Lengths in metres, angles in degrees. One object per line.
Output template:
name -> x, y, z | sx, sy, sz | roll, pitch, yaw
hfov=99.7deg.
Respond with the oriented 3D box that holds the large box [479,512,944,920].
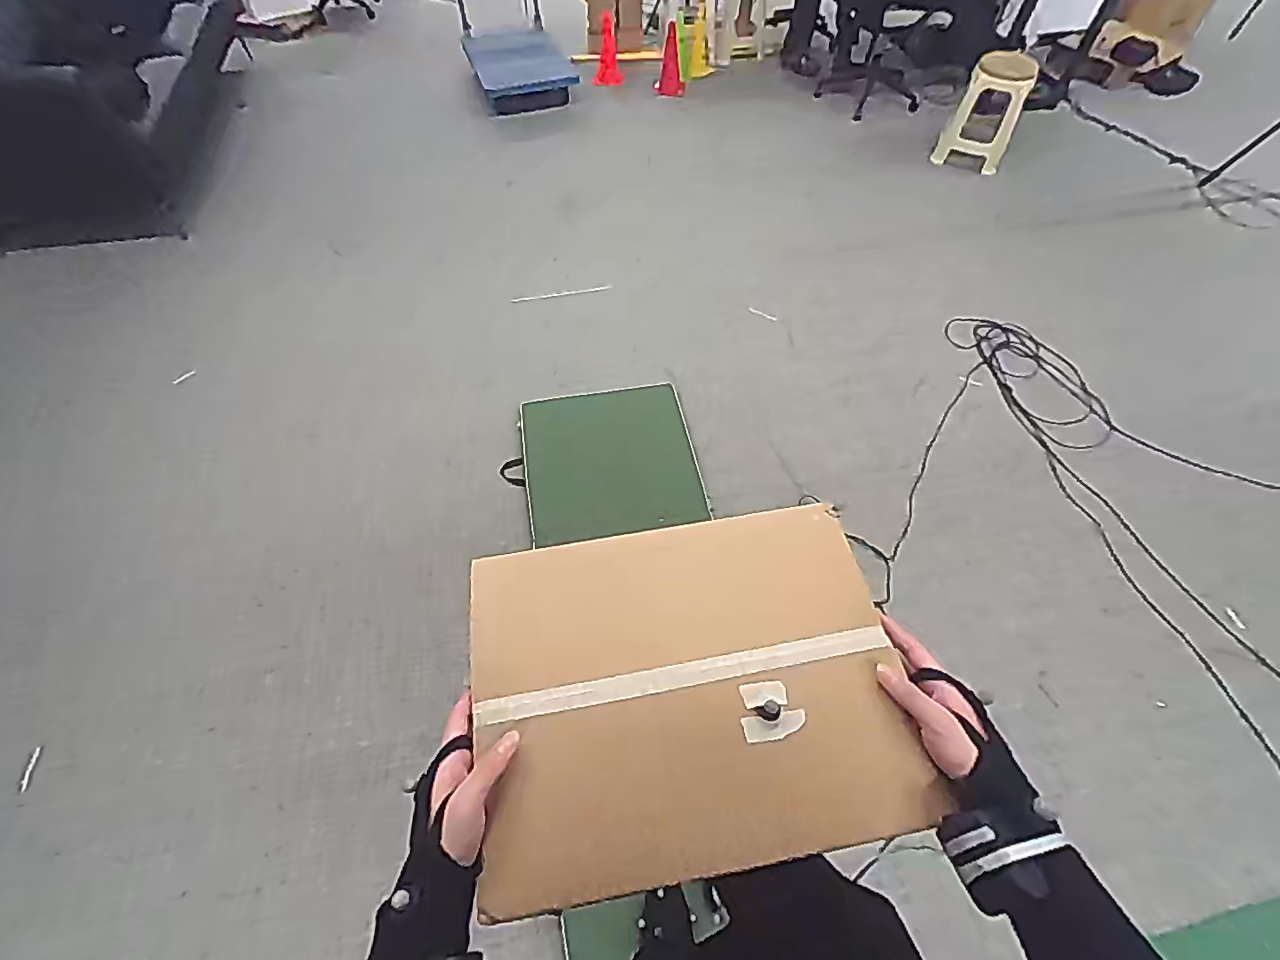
large box -> 0.045, 0.275, 0.654 | 0.408, 0.320, 0.320 | -9, 58, -6
